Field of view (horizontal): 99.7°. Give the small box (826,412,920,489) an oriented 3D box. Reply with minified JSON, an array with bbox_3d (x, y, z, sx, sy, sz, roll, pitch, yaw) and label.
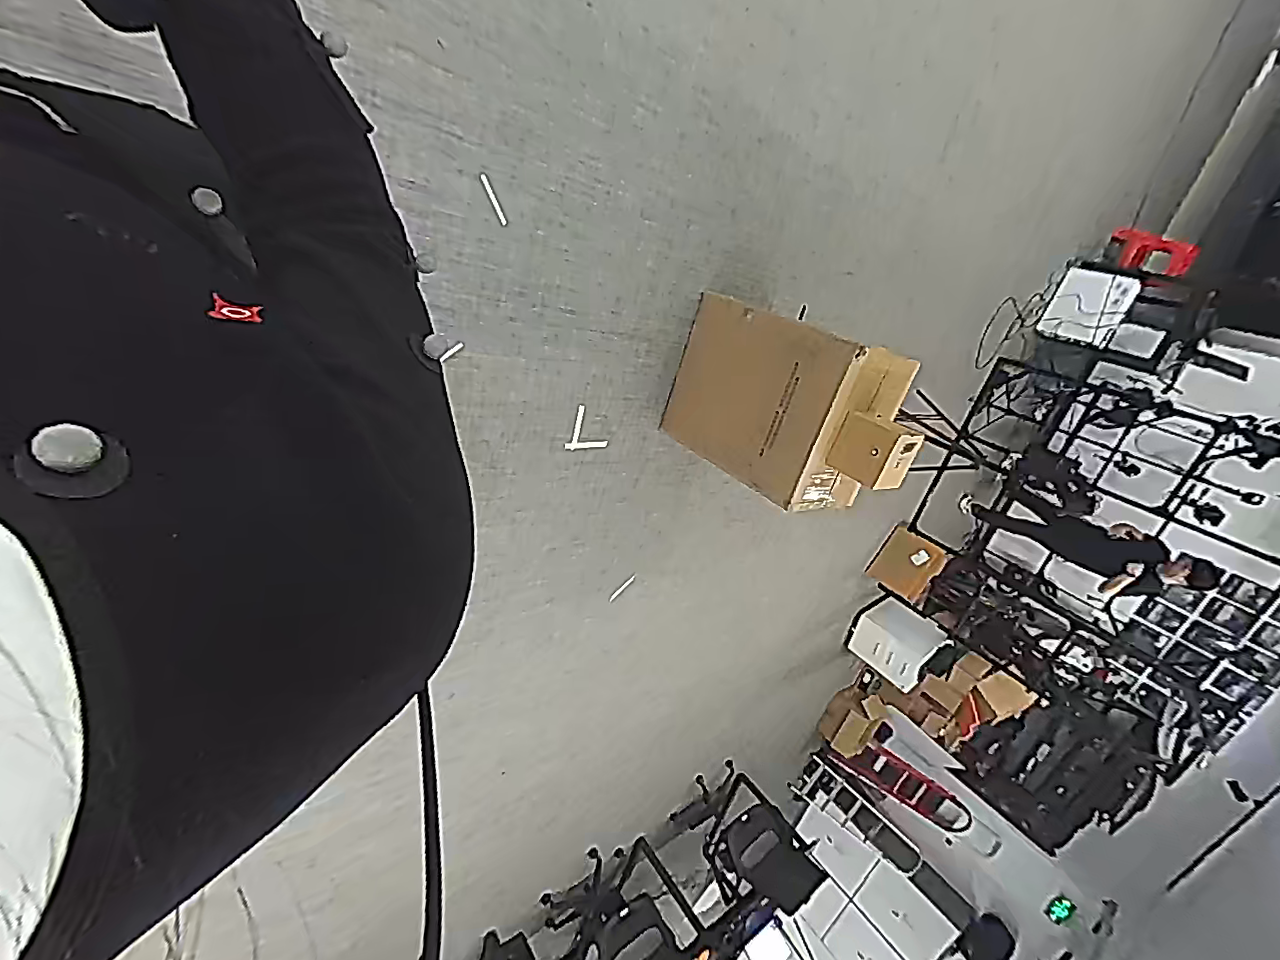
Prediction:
[{"bbox_3d":[0.680,-0.091,1.595,0.168,0.176,0.179,-2,119,-41],"label":"small box"}]
